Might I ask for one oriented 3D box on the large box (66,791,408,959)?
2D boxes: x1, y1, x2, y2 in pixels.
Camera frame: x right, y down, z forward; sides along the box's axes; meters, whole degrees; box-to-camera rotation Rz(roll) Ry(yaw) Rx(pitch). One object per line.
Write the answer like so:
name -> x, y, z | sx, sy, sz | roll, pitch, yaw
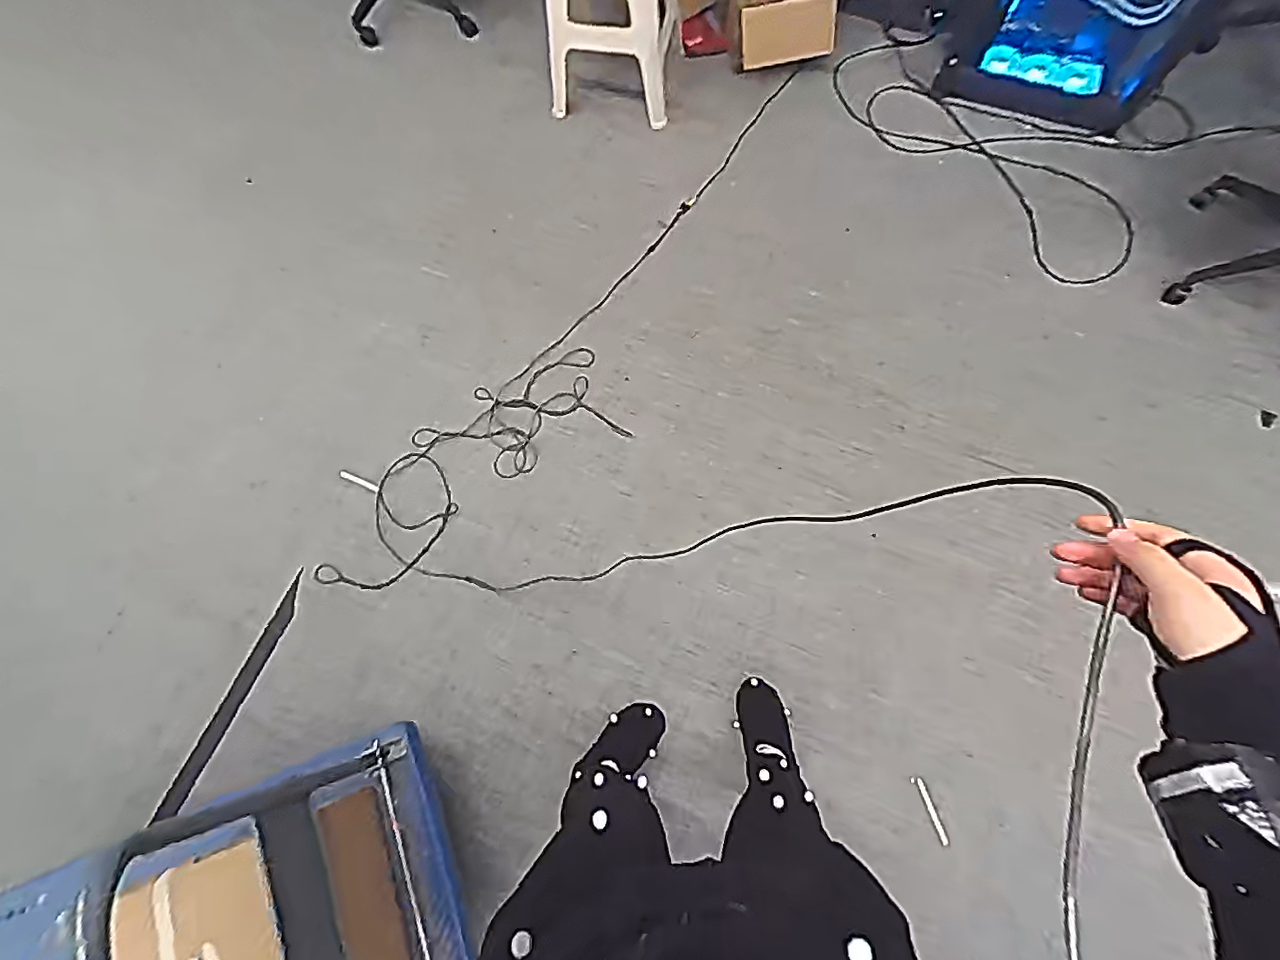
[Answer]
large box -> -0.619, 0.812, 0.887 | 0.320, 0.320, 0.408 | -22, 73, -5
